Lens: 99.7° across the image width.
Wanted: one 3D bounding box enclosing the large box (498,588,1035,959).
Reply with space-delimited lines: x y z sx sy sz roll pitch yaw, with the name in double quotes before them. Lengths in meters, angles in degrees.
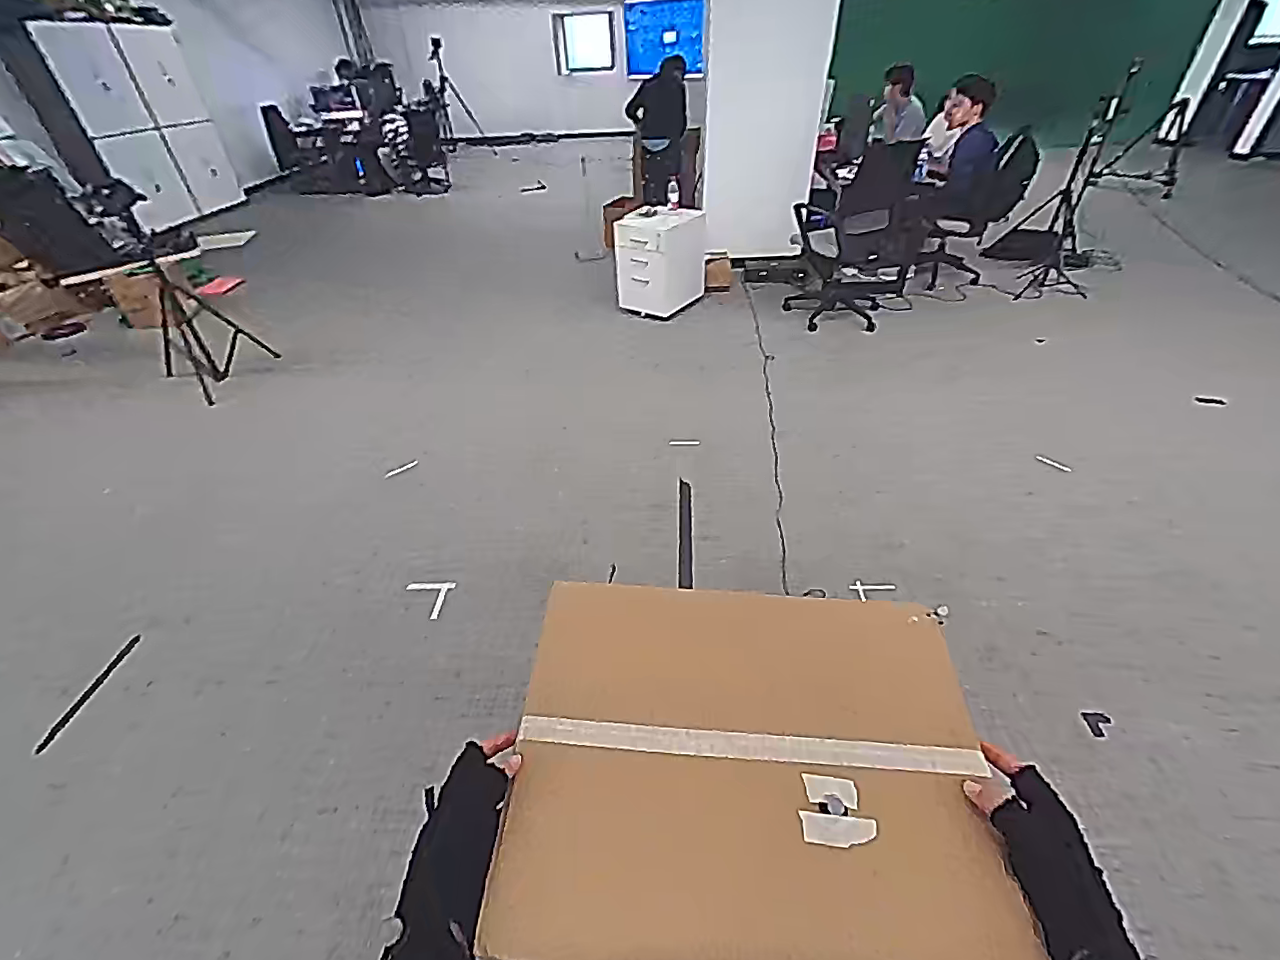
"large box" 0.099 0.343 0.603 0.408 0.320 0.320 3 47 4
